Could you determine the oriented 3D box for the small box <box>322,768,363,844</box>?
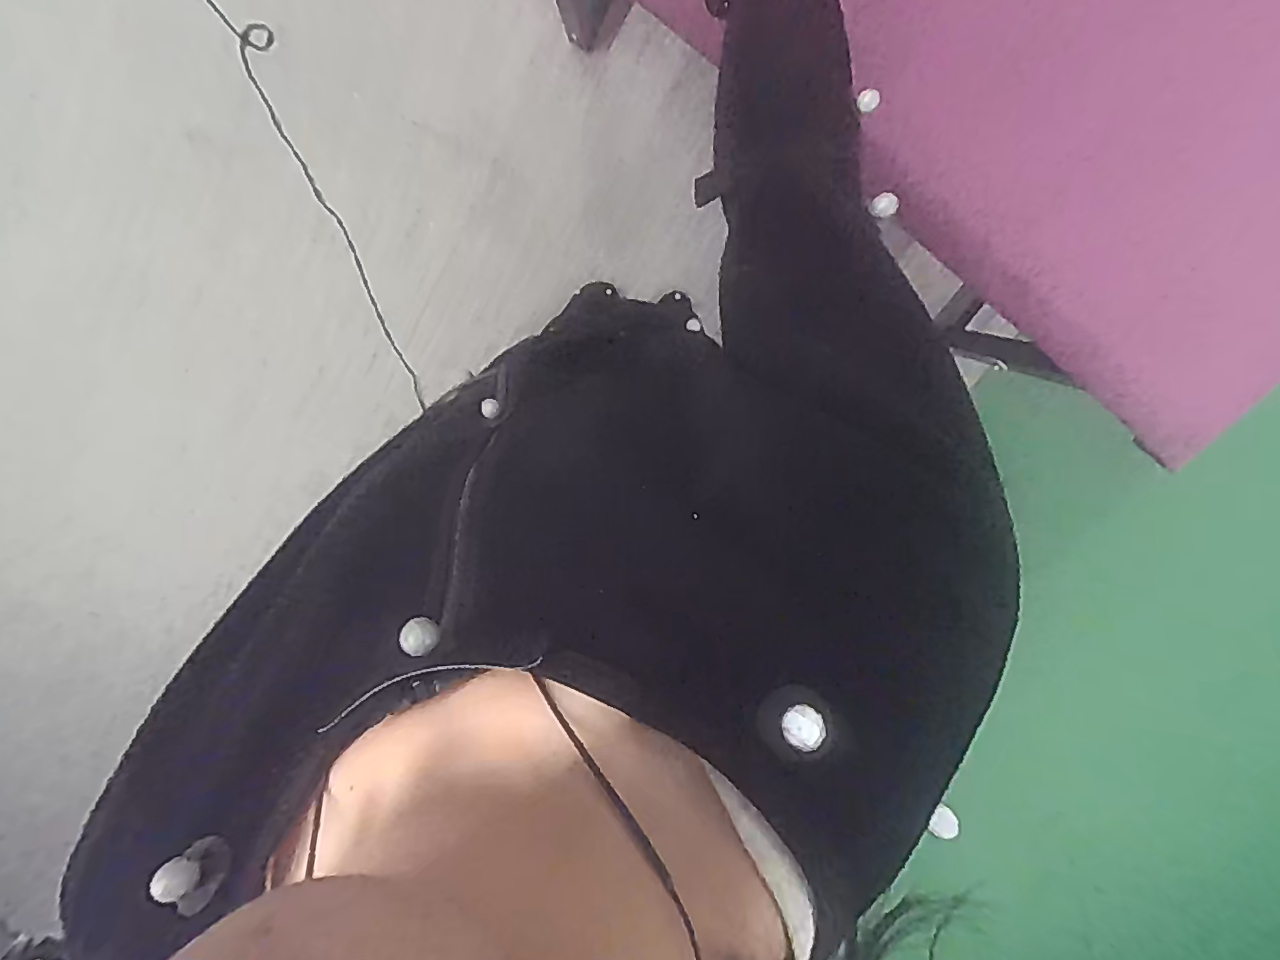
[{"bbox_3d":[-0.978,1.152,1.899,0.179,0.176,0.168,18,109,-5],"label":"small box"}]
